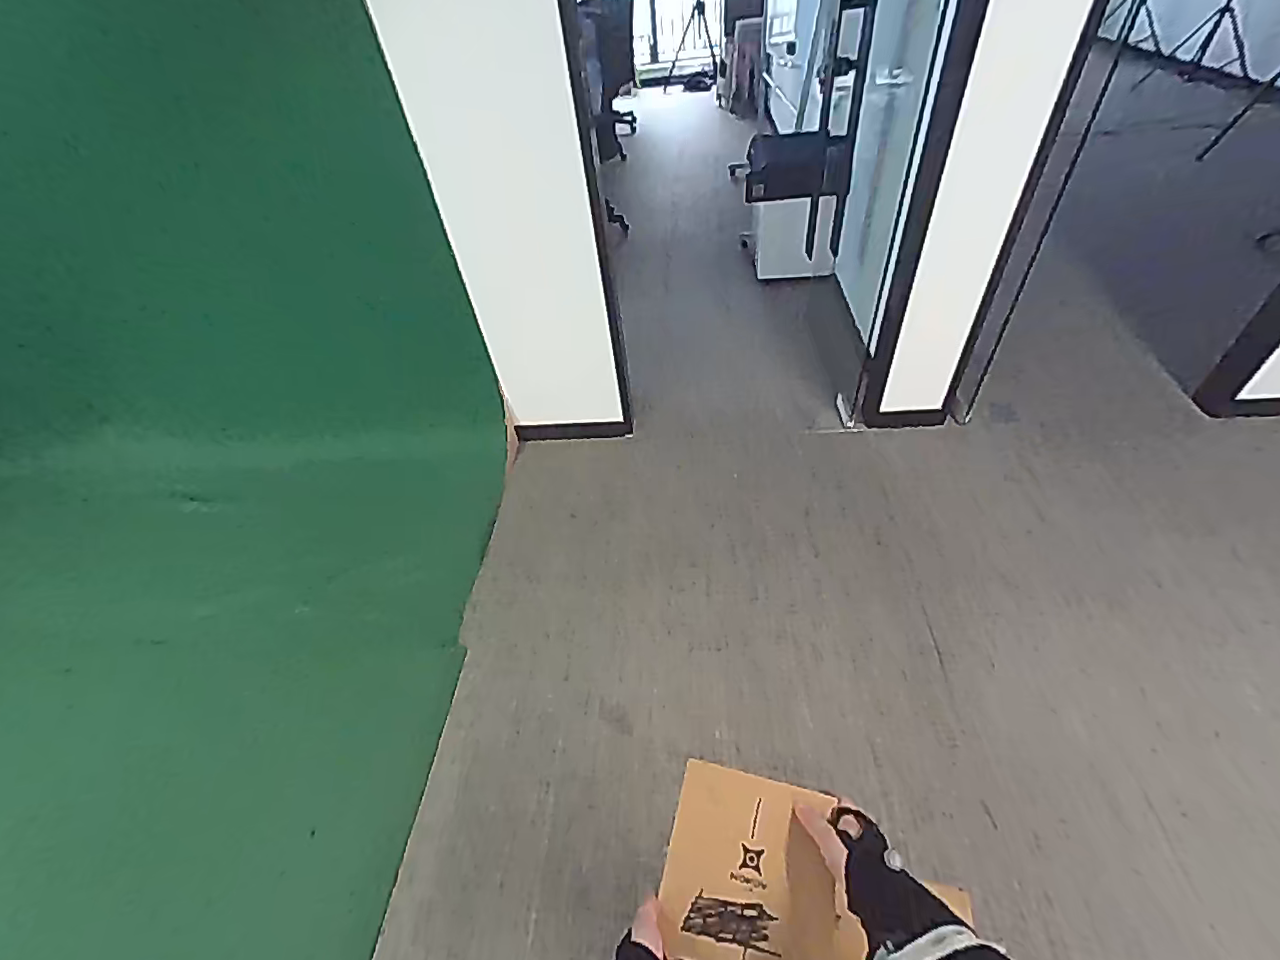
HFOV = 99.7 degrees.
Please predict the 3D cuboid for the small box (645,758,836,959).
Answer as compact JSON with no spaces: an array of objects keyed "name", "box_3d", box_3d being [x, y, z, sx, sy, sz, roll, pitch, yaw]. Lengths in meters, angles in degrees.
[{"name":"small box","box_3d":[0.115,0.444,0.592,0.168,0.176,0.179,7,45,16]}]
